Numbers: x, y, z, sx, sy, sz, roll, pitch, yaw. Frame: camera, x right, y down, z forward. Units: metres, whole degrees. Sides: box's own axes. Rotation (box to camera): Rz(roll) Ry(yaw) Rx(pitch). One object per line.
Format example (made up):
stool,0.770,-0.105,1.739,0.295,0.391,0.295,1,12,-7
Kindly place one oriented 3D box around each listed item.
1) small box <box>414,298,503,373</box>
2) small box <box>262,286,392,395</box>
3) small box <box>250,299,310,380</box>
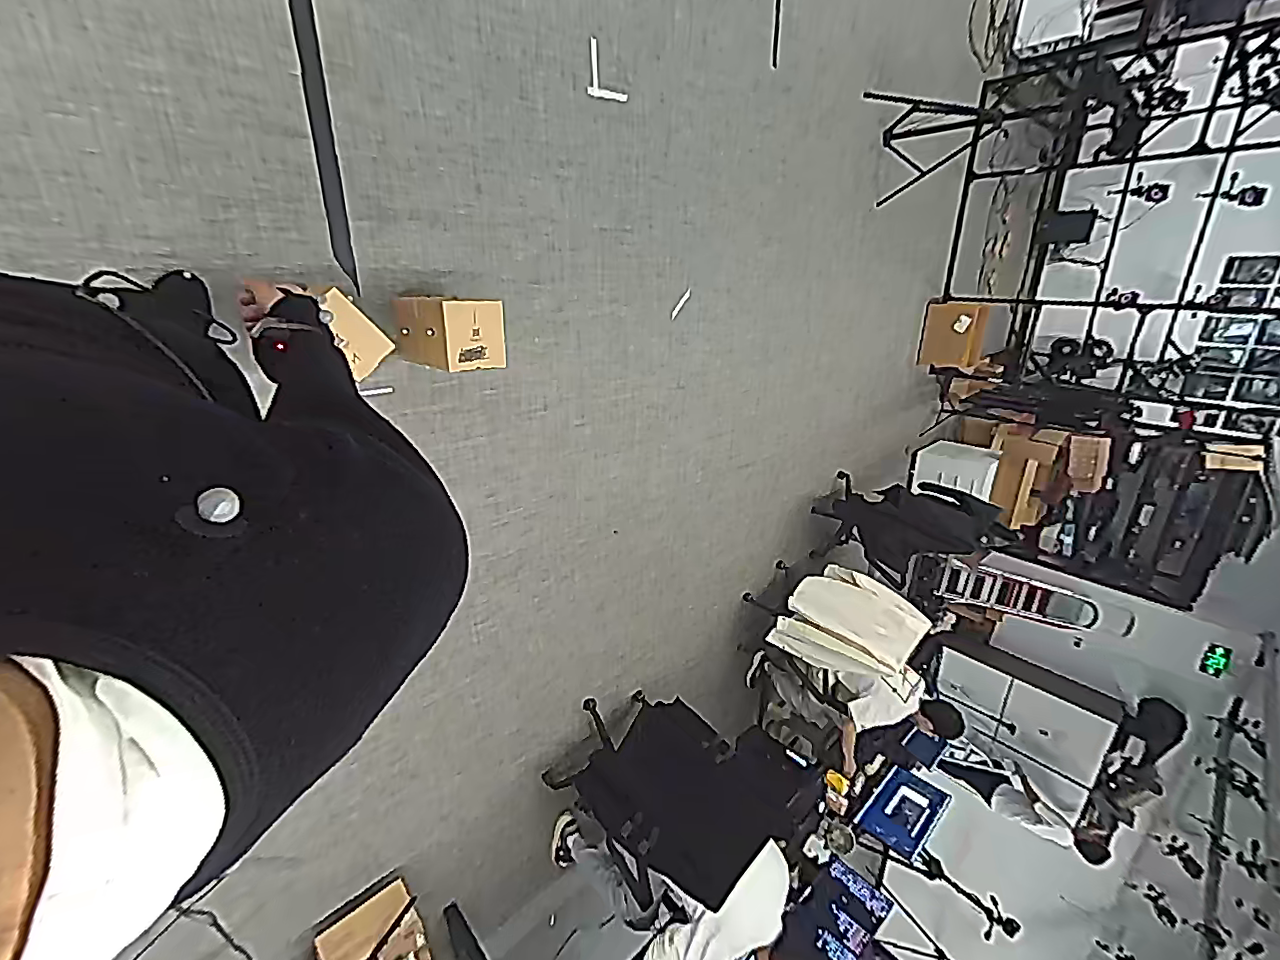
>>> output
small box,-0.484,-0.389,1.440,0.168,0.176,0.179,-17,116,-41
small box,-0.717,-0.320,1.236,0.168,0.176,0.179,-54,135,-15
small box,-0.839,-0.356,1.341,0.168,0.176,0.179,-21,119,-38
